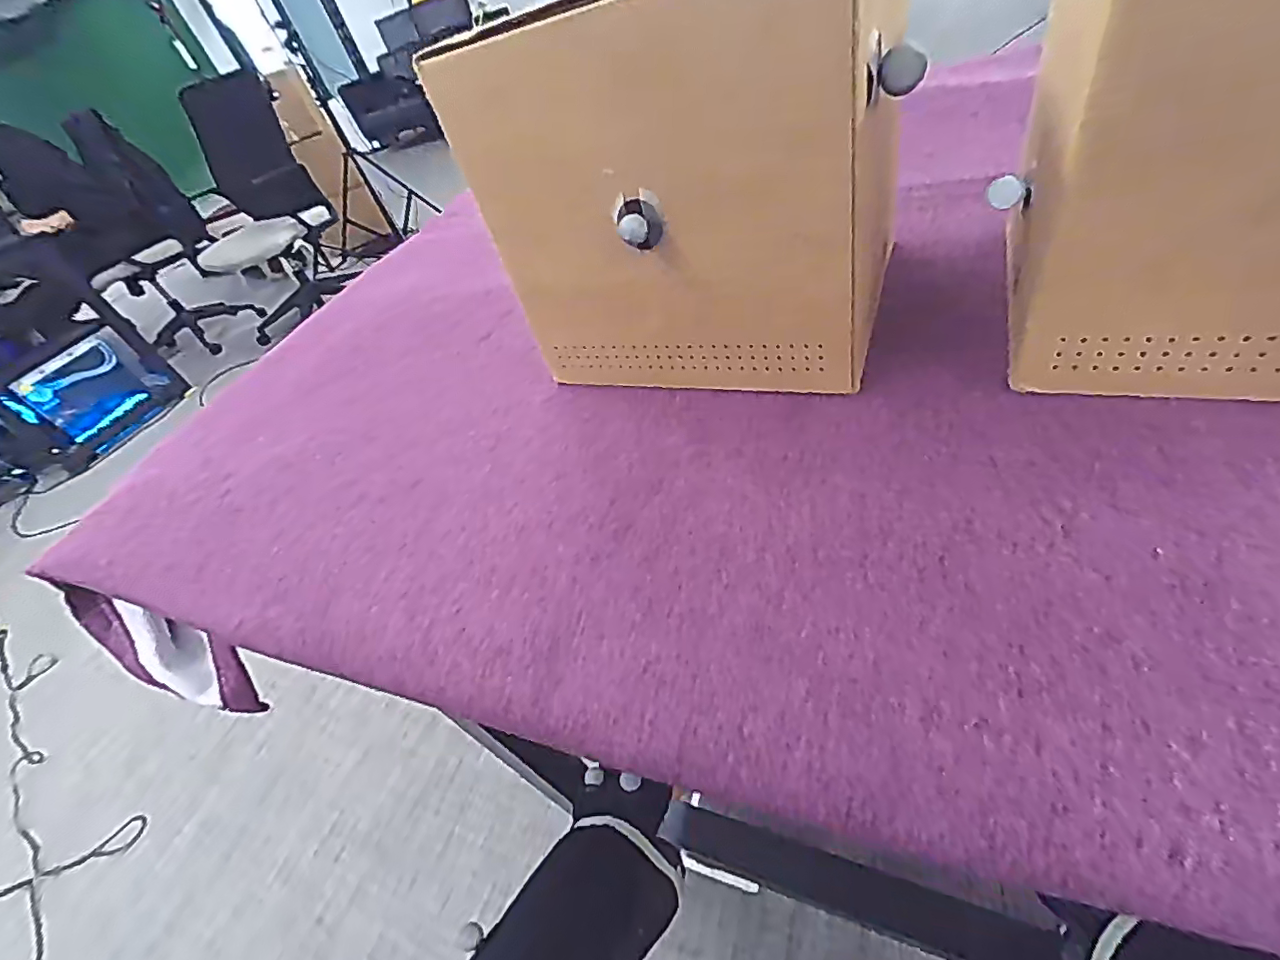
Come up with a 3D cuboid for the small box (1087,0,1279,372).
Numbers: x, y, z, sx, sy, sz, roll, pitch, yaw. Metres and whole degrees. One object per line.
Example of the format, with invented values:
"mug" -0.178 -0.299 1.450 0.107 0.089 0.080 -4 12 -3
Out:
"small box" 0.292 -0.150 0.156 0.179 0.176 0.168 -12 83 15
